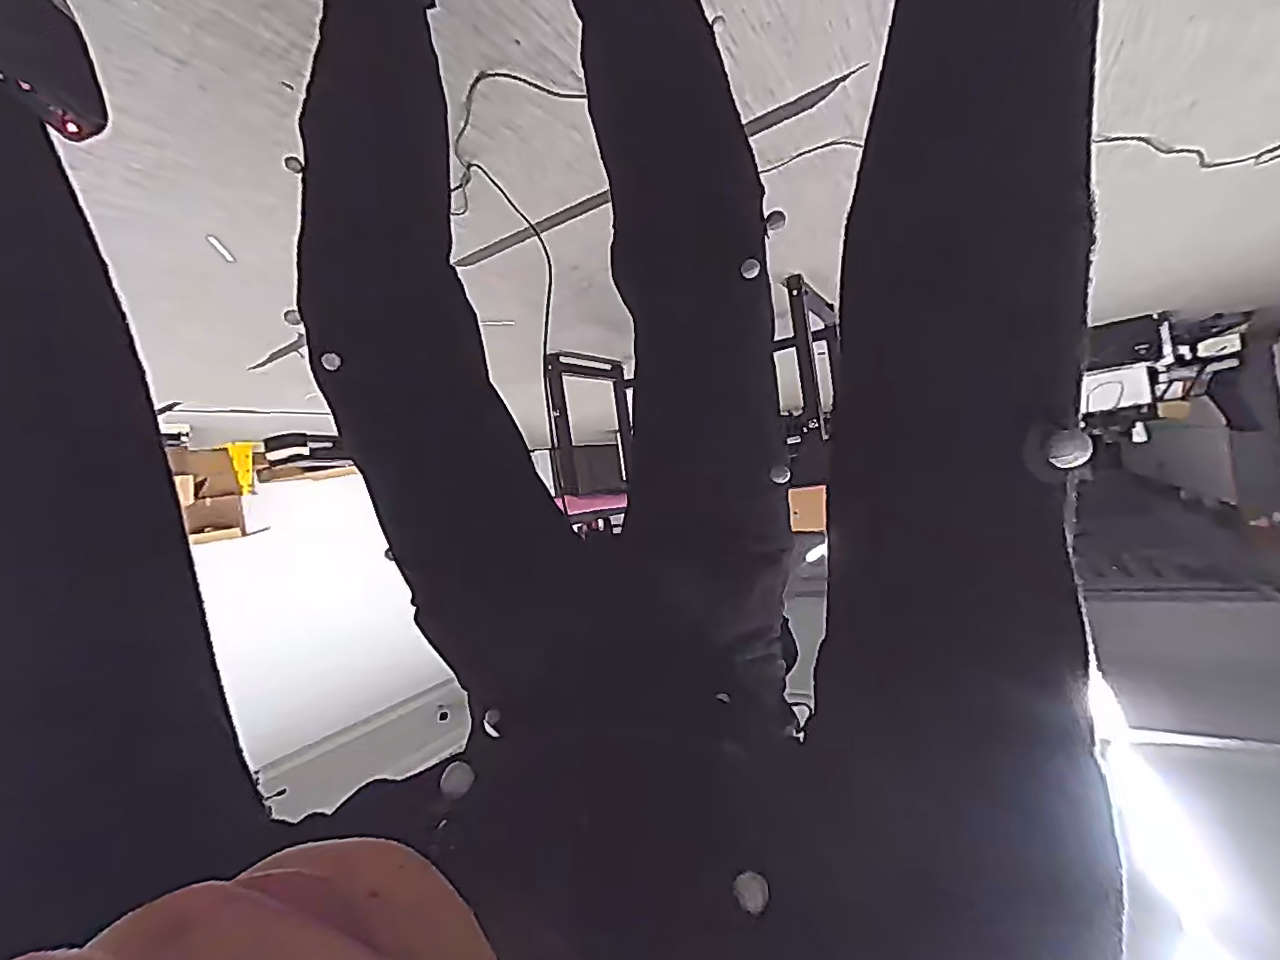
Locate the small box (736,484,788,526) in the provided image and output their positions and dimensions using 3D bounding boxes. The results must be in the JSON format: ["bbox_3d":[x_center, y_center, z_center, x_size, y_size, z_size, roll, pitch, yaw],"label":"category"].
[{"bbox_3d":[0.542,0.111,2.394,0.168,0.176,0.179,-8,179,34],"label":"small box"}]
